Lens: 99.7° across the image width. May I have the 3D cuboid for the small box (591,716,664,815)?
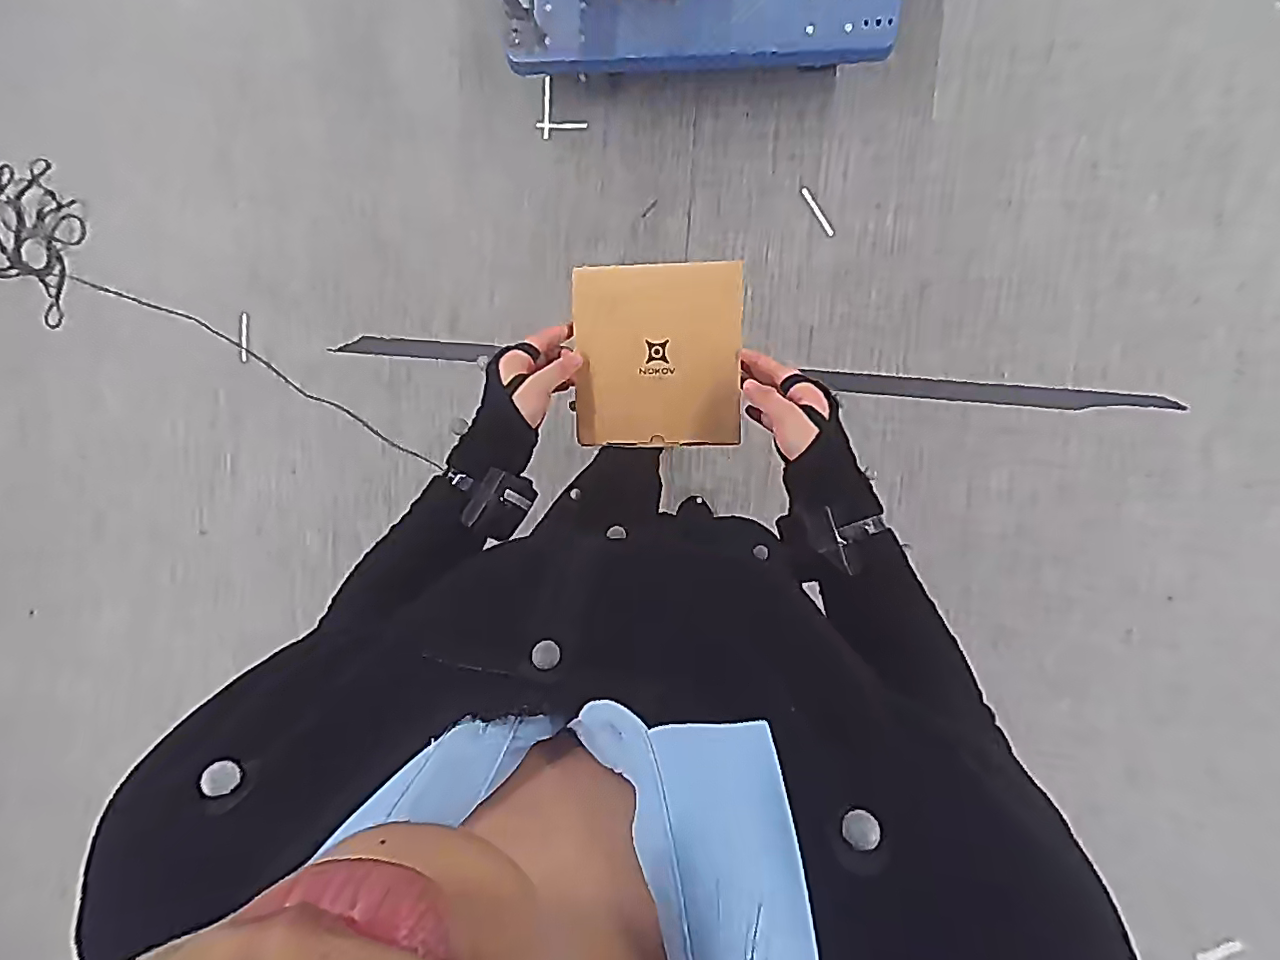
[{"bbox_3d":[-0.029,0.770,1.468,0.168,0.176,0.179,-7,94,6],"label":"small box"}]
